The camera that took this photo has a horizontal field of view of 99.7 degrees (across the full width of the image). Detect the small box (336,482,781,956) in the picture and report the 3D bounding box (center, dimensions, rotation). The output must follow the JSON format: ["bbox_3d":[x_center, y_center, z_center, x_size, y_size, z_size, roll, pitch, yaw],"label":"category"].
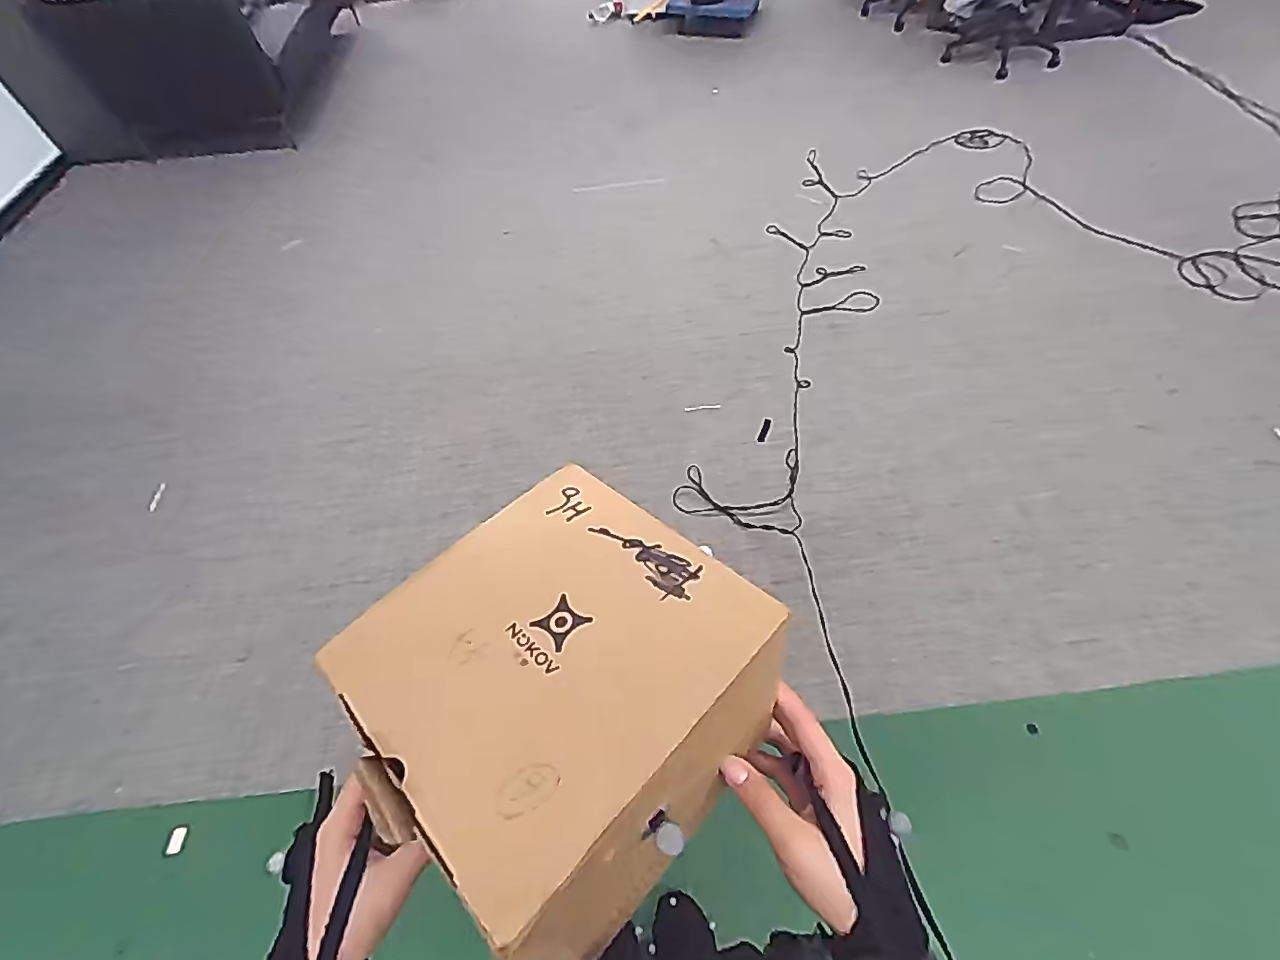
[{"bbox_3d":[-0.033,0.141,0.331,0.168,0.176,0.179,32,59,32],"label":"small box"}]
